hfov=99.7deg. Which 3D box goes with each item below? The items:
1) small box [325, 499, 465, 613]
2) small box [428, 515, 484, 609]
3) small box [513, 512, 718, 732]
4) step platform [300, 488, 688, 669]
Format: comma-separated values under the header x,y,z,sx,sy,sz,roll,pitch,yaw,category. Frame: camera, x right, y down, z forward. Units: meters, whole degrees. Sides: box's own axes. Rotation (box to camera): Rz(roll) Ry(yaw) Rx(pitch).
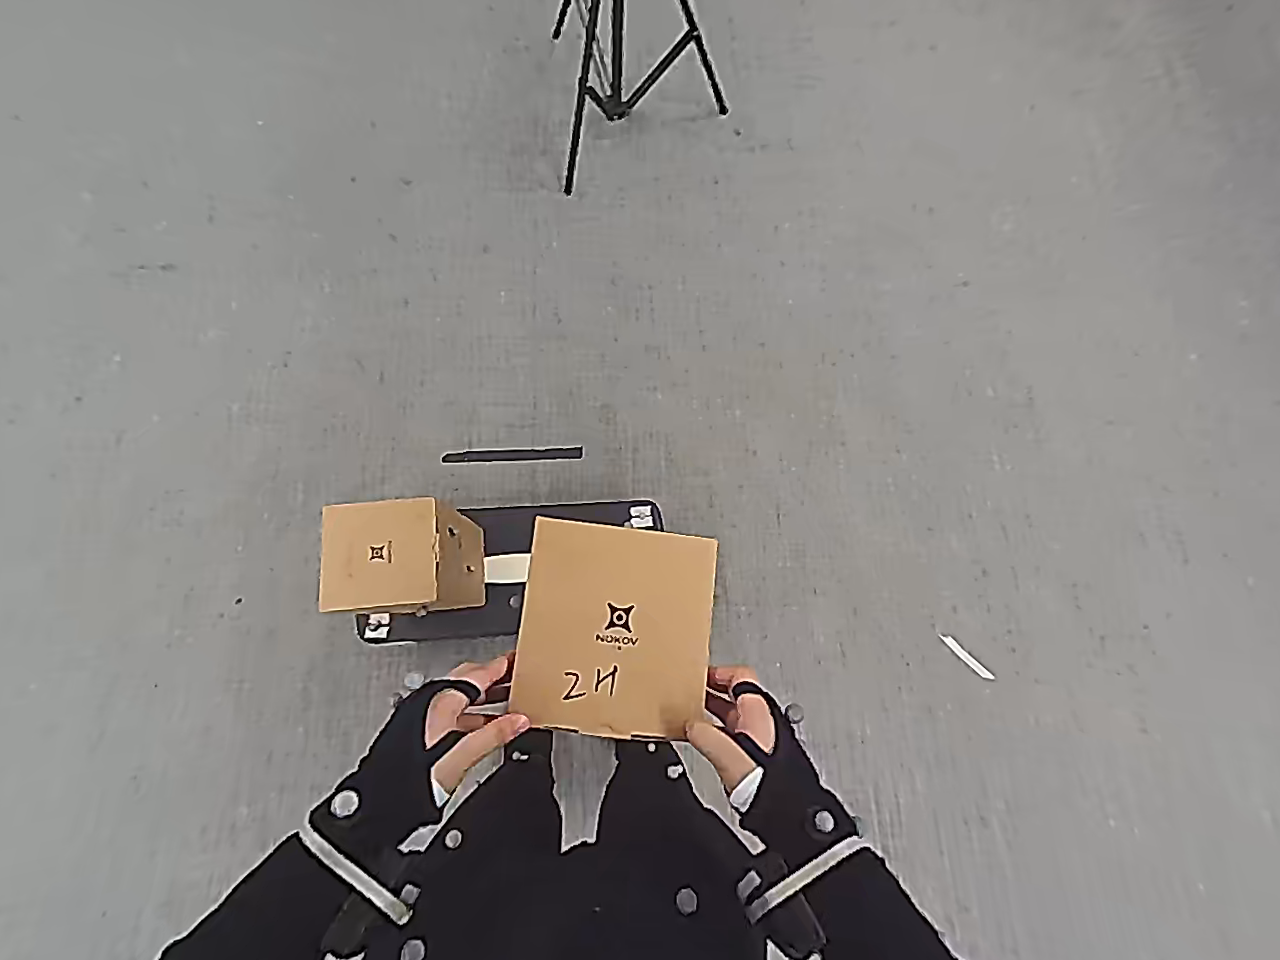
x,y,z,sx,sy,sz,roll,pitch,yaw,category
-0.402,0.133,0.917,0.179,0.176,0.168,-5,76,-5,small box
-0.411,0.171,1.076,0.179,0.176,0.168,-5,77,-4,small box
-0.027,0.139,0.553,0.168,0.176,0.179,7,78,-5,small box
-0.248,0.189,1.044,0.684,0.204,0.286,-3,76,-5,step platform
